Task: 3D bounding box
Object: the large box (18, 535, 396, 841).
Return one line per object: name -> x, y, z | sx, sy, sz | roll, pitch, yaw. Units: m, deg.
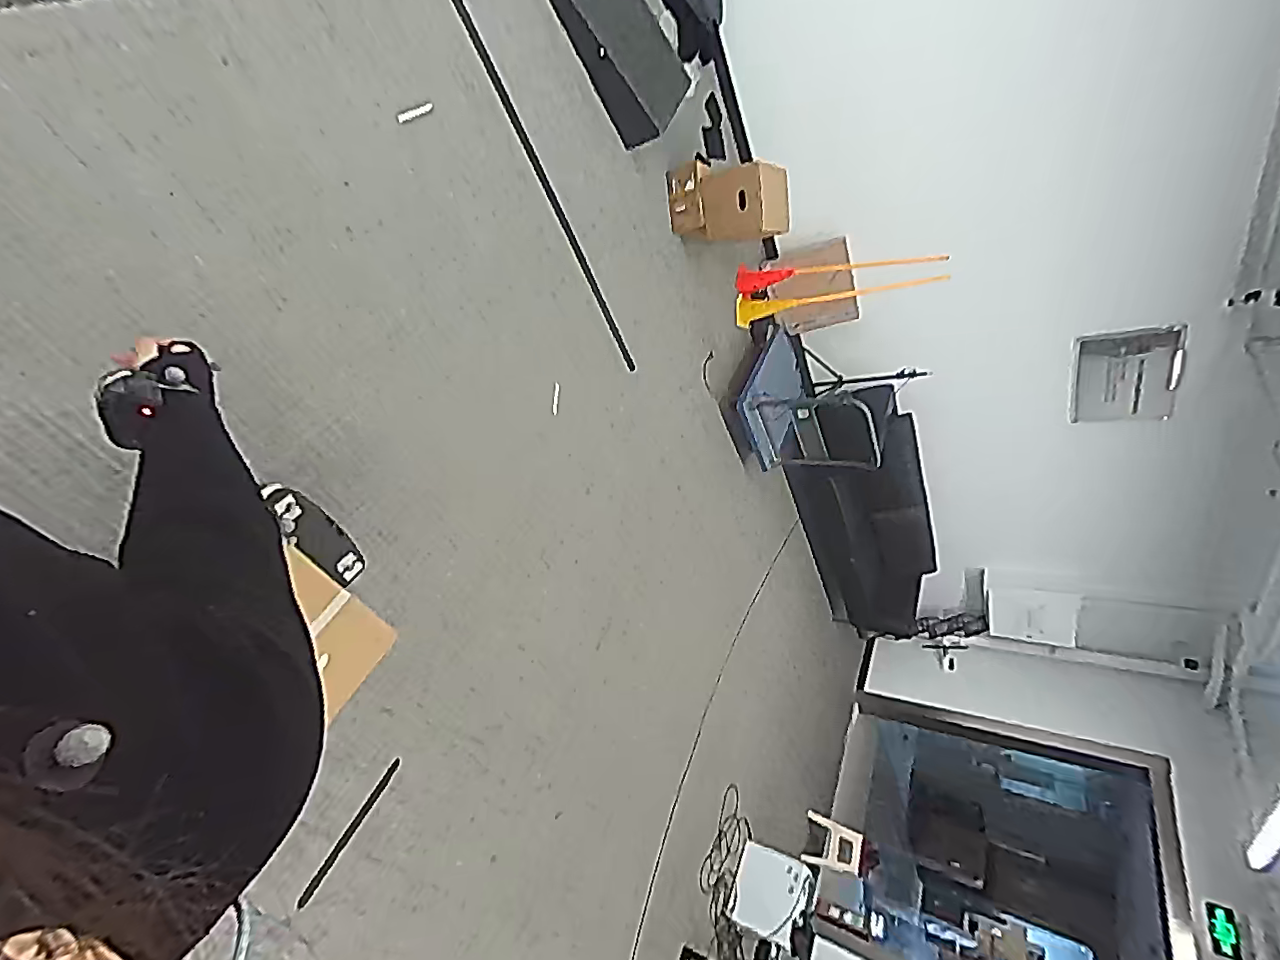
large box -> -0.763, 0.352, 0.998 | 0.408, 0.320, 0.320 | -60, 135, -36
